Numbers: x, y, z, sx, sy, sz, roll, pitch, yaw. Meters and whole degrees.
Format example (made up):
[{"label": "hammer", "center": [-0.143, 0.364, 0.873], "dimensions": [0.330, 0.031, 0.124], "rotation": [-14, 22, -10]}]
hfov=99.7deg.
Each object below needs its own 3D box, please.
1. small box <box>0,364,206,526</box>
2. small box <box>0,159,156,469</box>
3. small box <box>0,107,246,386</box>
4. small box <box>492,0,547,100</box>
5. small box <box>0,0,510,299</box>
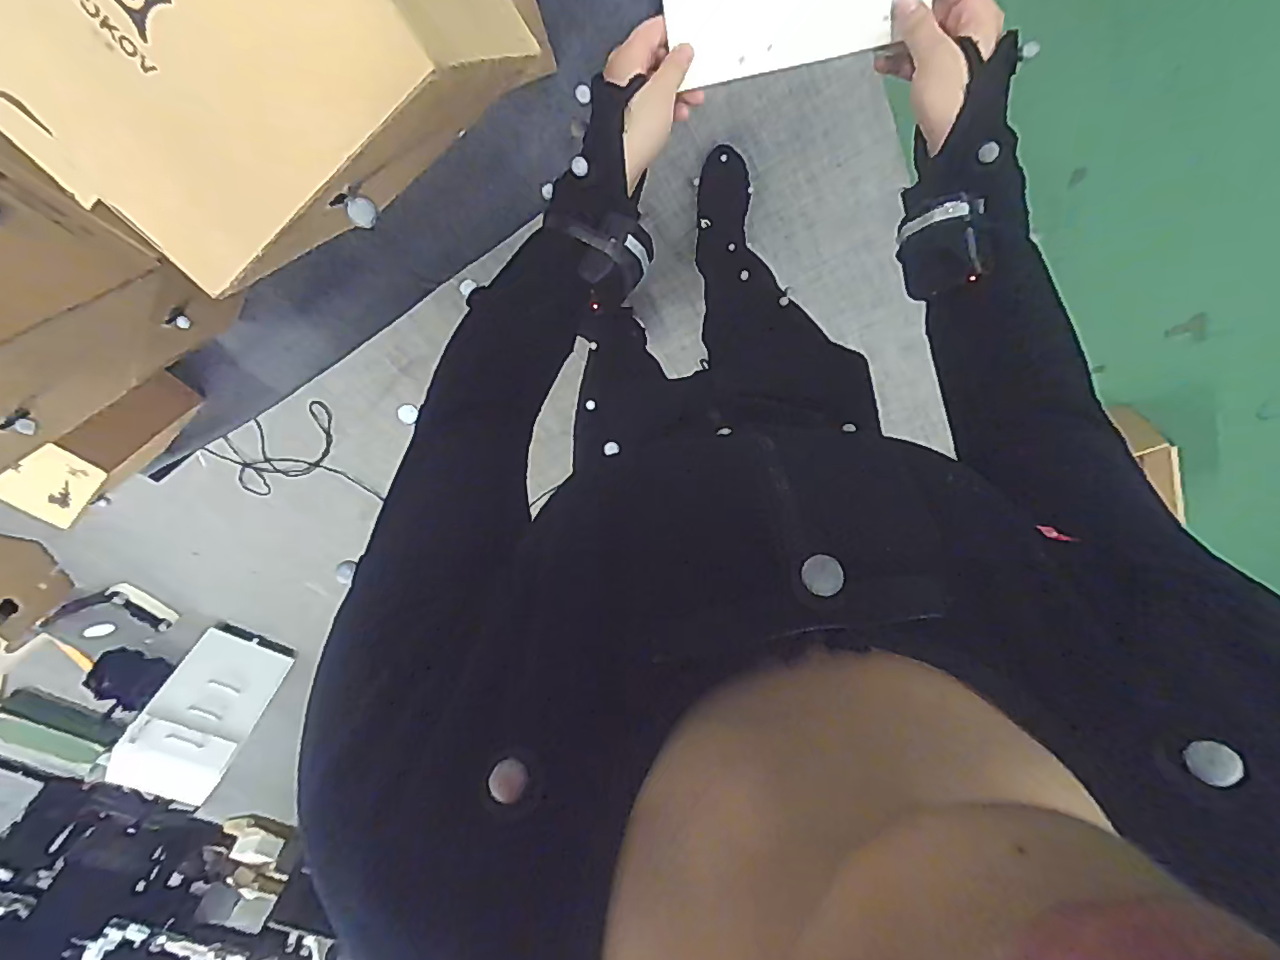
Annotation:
[{"label": "small box", "center": [-0.717, -0.080, 0.683], "dimensions": [0.168, 0.176, 0.179], "rotation": [-29, 122, 28]}, {"label": "small box", "center": [-0.520, -0.124, 0.405], "dimensions": [0.168, 0.176, 0.179], "rotation": [37, 125, -24]}, {"label": "small box", "center": [-0.507, -0.234, 0.526], "dimensions": [0.168, 0.176, 0.179], "rotation": [34, 126, -22]}, {"label": "small box", "center": [-0.186, -0.354, 0.380], "dimensions": [0.168, 0.176, 0.179], "rotation": [-10, 129, 16]}, {"label": "small box", "center": [-0.186, -0.232, 0.270], "dimensions": [0.179, 0.176, 0.168], "rotation": [-24, 123, 26]}]
